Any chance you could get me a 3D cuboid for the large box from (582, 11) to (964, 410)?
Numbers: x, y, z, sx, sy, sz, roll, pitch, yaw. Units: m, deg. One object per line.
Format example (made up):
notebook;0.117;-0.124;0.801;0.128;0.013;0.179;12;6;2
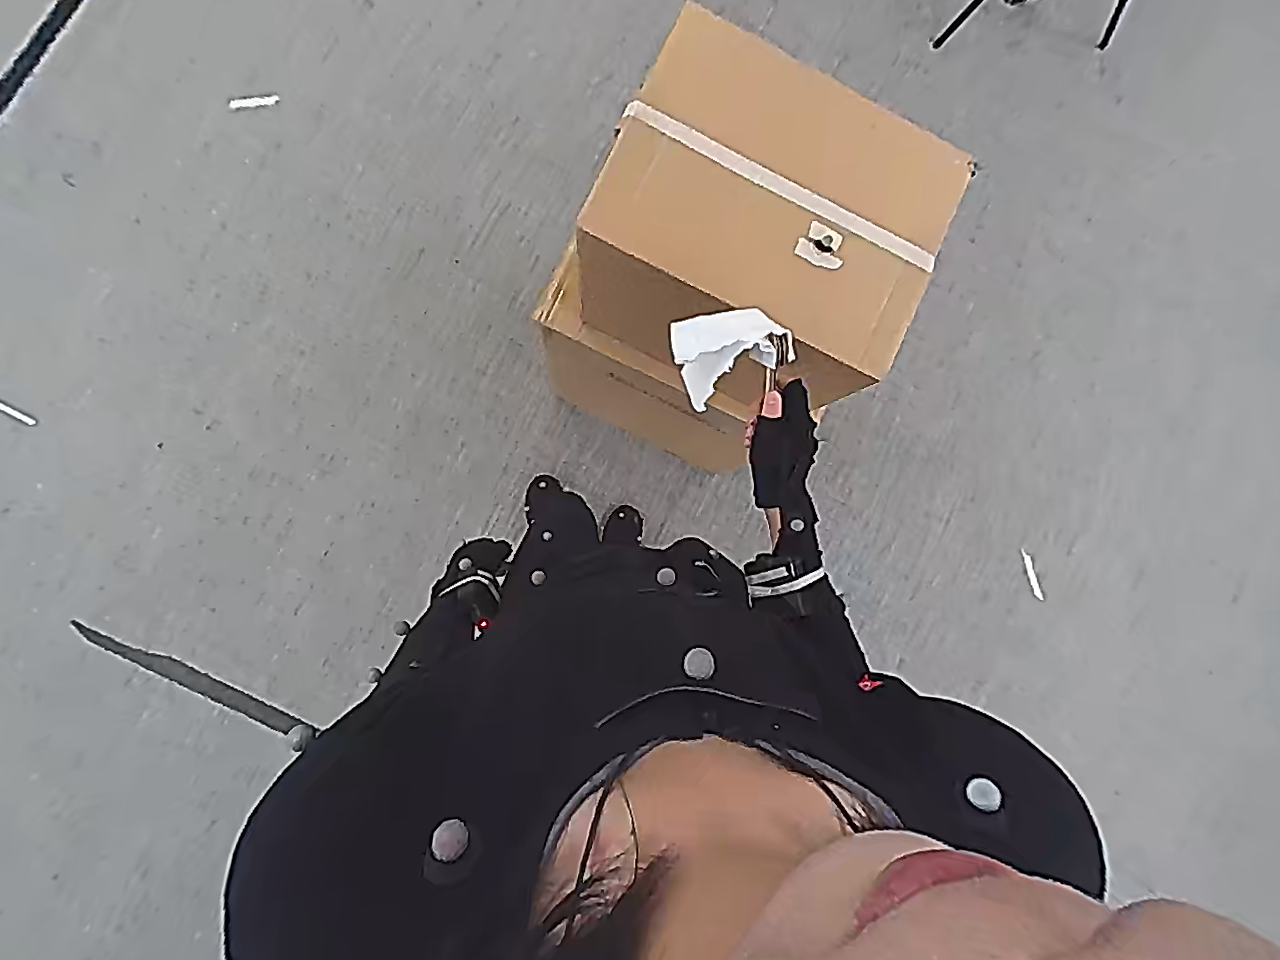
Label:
large box;0.155;-0.346;0.803;0.408;0.320;0.320;25;85;-5
